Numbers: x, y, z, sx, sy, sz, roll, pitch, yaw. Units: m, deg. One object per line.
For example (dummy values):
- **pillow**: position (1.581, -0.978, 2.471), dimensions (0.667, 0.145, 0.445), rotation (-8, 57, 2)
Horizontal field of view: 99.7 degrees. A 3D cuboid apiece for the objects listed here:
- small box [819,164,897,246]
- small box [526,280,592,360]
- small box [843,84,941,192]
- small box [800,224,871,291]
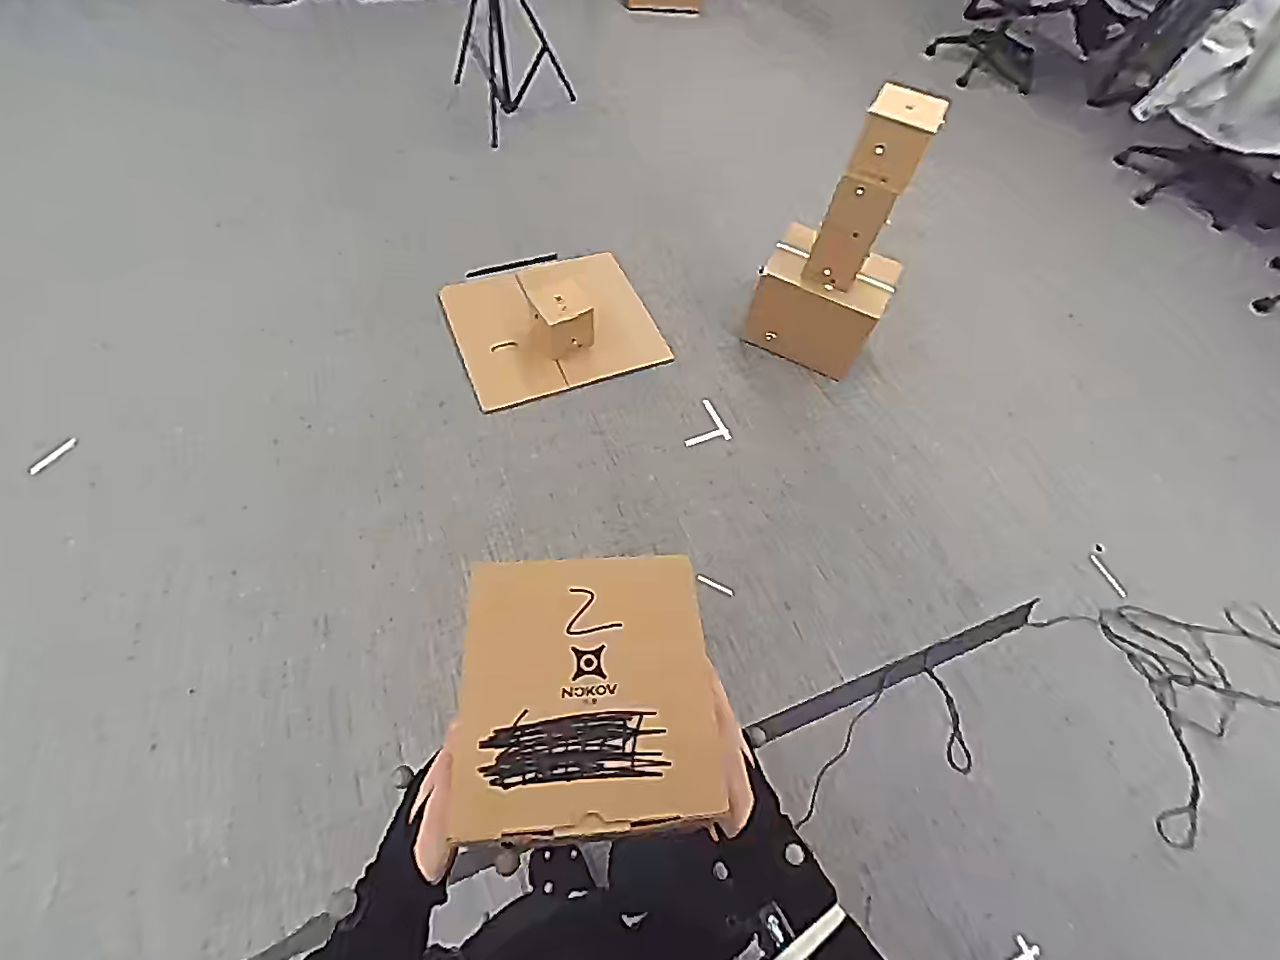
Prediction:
- **small box**: position (0.644, -0.824, 1.576), dimensions (0.168, 0.176, 0.179), rotation (25, 61, 10)
- **small box**: position (-0.276, -0.549, 1.868), dimensions (0.168, 0.176, 0.179), rotation (-28, 67, -17)
- **small box**: position (0.659, -0.901, 1.433), dimensions (0.168, 0.176, 0.179), rotation (25, 61, 9)
- **small box**: position (0.629, -0.740, 1.716), dimensions (0.168, 0.176, 0.179), rotation (25, 62, 9)
